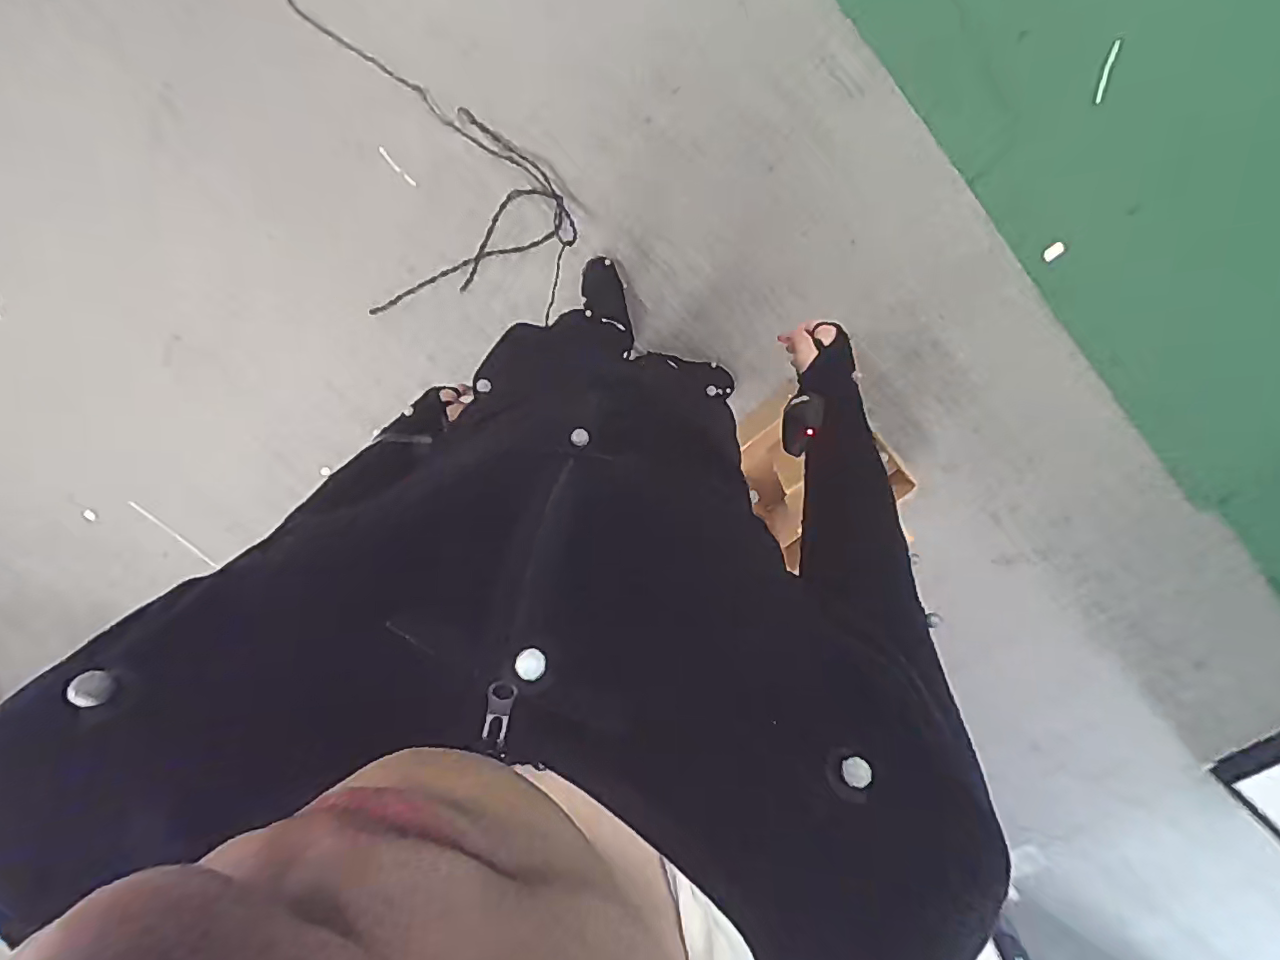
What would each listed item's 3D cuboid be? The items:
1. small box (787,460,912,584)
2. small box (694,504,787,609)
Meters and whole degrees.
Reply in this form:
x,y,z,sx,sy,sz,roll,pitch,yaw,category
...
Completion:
x,y,z,sx,sy,sz,roll,pitch,yaw,category
0.442,0.083,1.171,0.179,0.176,0.168,-38,104,19,small box
0.254,0.193,1.412,0.179,0.176,0.168,-41,101,18,small box
